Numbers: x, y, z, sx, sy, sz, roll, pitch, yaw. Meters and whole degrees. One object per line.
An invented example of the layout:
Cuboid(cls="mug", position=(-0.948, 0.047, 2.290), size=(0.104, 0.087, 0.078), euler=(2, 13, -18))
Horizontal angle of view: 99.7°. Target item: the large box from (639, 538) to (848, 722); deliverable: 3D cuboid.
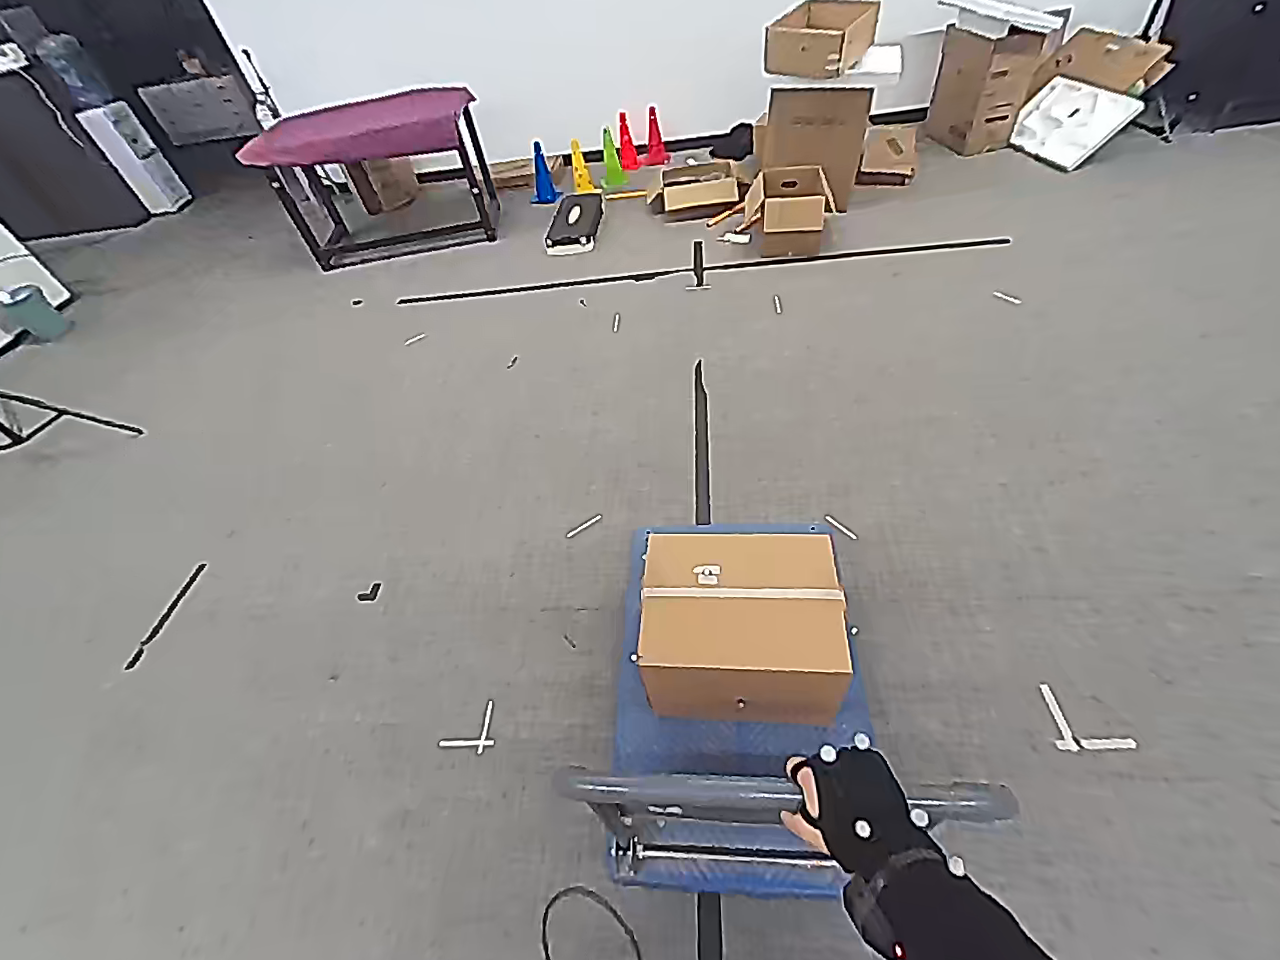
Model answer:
Cuboid(cls="large box", position=(0.226, 0.349, 1.244), size=(0.408, 0.320, 0.320), euler=(-2, 47, 9))
